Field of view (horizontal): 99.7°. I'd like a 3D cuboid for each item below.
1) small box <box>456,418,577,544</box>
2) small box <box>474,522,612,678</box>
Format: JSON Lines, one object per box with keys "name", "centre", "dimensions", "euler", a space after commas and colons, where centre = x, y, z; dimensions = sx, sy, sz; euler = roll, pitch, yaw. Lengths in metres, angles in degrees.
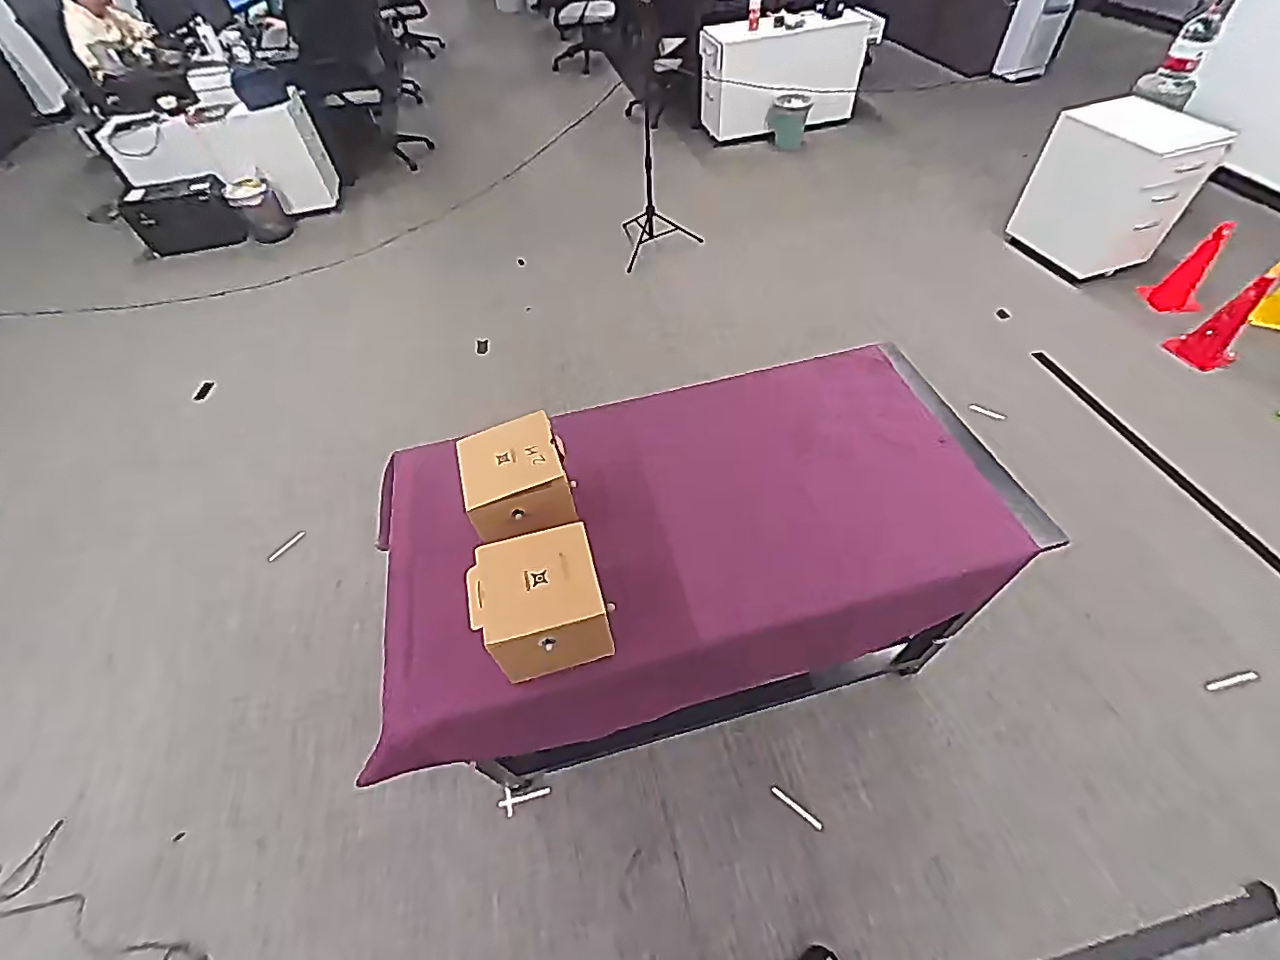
{"name": "small box", "centre": [-0.225, 0.016, 1.008], "dimensions": [0.179, 0.176, 0.168], "euler": [-15, 54, -8]}
{"name": "small box", "centre": [-0.151, 0.196, 0.865], "dimensions": [0.179, 0.176, 0.168], "euler": [-13, 53, -7]}
